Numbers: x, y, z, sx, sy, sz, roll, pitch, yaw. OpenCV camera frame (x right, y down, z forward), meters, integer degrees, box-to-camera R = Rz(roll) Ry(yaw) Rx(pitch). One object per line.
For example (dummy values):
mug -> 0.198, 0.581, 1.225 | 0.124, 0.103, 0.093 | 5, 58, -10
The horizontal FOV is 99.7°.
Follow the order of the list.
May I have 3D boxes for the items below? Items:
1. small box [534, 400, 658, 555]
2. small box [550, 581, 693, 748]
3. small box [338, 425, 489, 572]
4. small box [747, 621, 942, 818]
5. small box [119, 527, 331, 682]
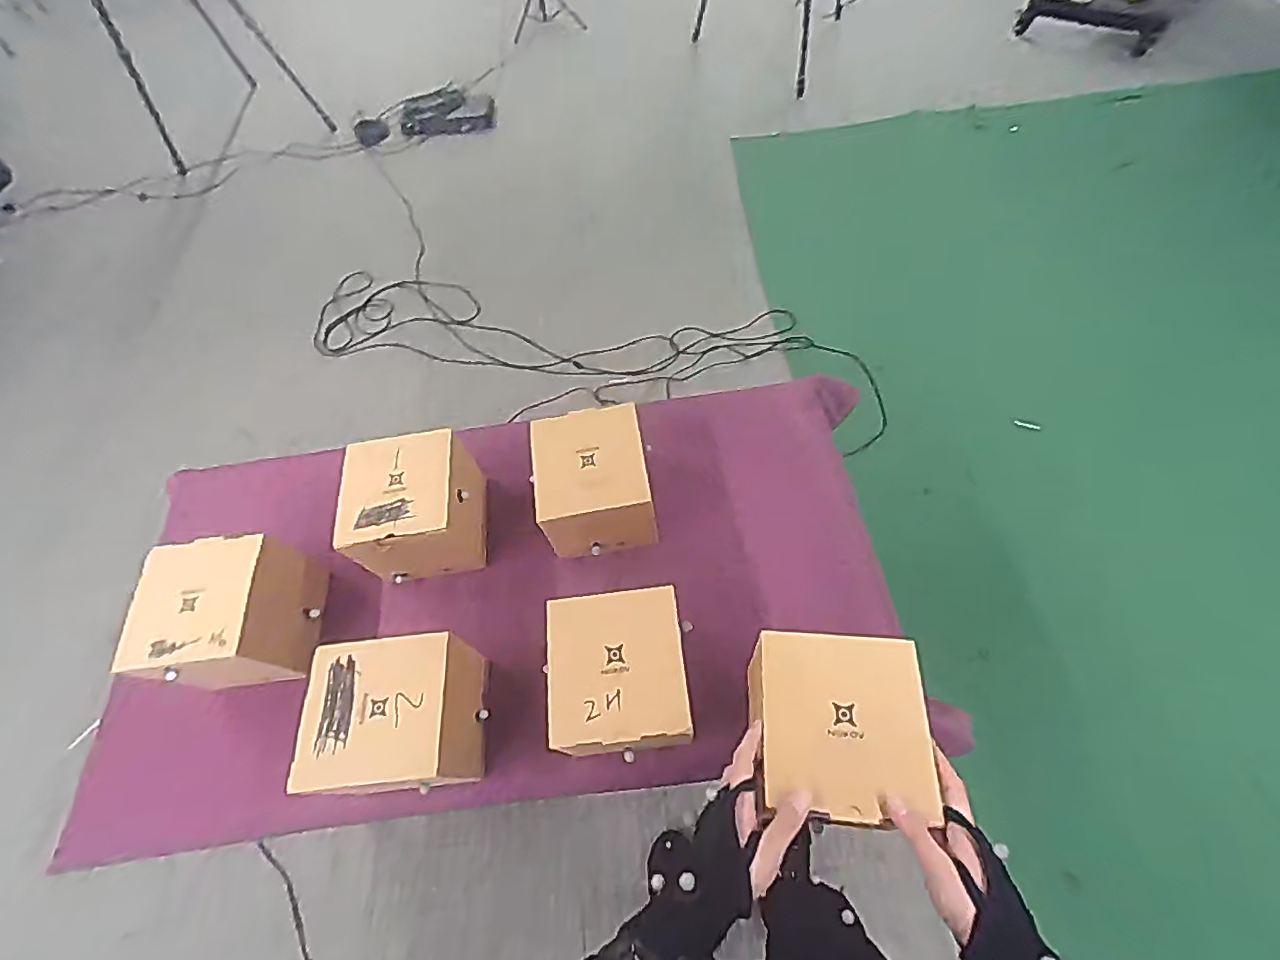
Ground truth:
small box -> -0.067, 0.001, 0.864 | 0.168, 0.176, 0.179 | -10, 62, 1
small box -> -0.022, 0.251, 0.723 | 0.168, 0.176, 0.179 | -7, 61, 2
small box -> -0.349, 0.039, 0.869 | 0.168, 0.176, 0.179 | -9, 61, 1
small box -> 0.214, 0.278, 0.623 | 0.168, 0.176, 0.179 | 2, 58, 6
small box -> -0.596, 0.190, 0.808 | 0.168, 0.176, 0.179 | -8, 61, 2
